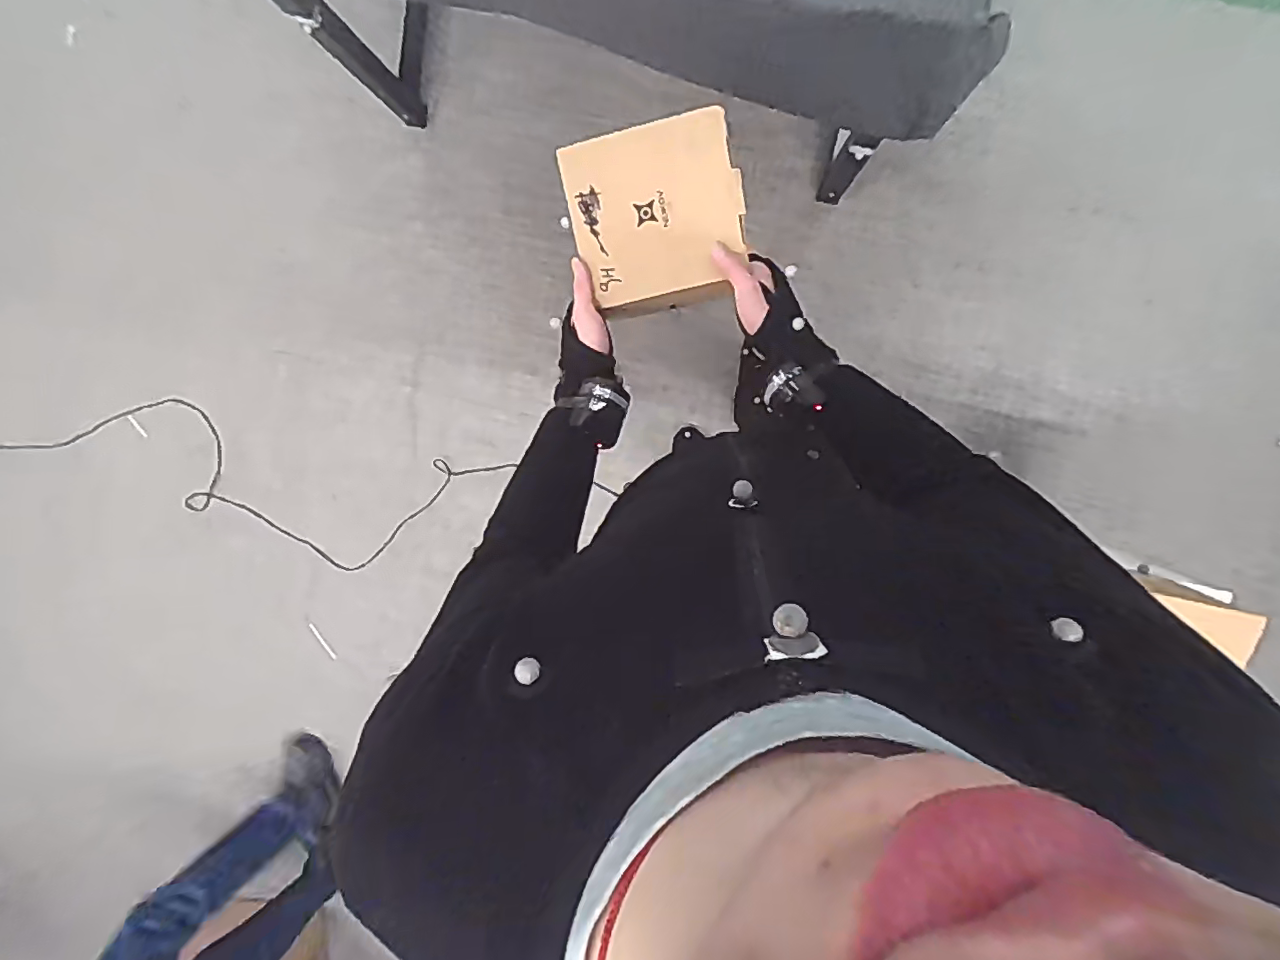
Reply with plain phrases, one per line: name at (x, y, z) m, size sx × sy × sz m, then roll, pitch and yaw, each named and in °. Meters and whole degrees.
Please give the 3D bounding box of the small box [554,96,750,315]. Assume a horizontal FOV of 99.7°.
small box at (0.014, -0.294, 0.618) m, size 0.179 × 0.176 × 0.168 m, roll -11°, pitch 100°, yaw 3°

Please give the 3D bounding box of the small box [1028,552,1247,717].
small box at (0.762, 0.234, 0.855) m, size 0.168 × 0.176 × 0.179 m, roll 12°, pitch 100°, yaw 1°
